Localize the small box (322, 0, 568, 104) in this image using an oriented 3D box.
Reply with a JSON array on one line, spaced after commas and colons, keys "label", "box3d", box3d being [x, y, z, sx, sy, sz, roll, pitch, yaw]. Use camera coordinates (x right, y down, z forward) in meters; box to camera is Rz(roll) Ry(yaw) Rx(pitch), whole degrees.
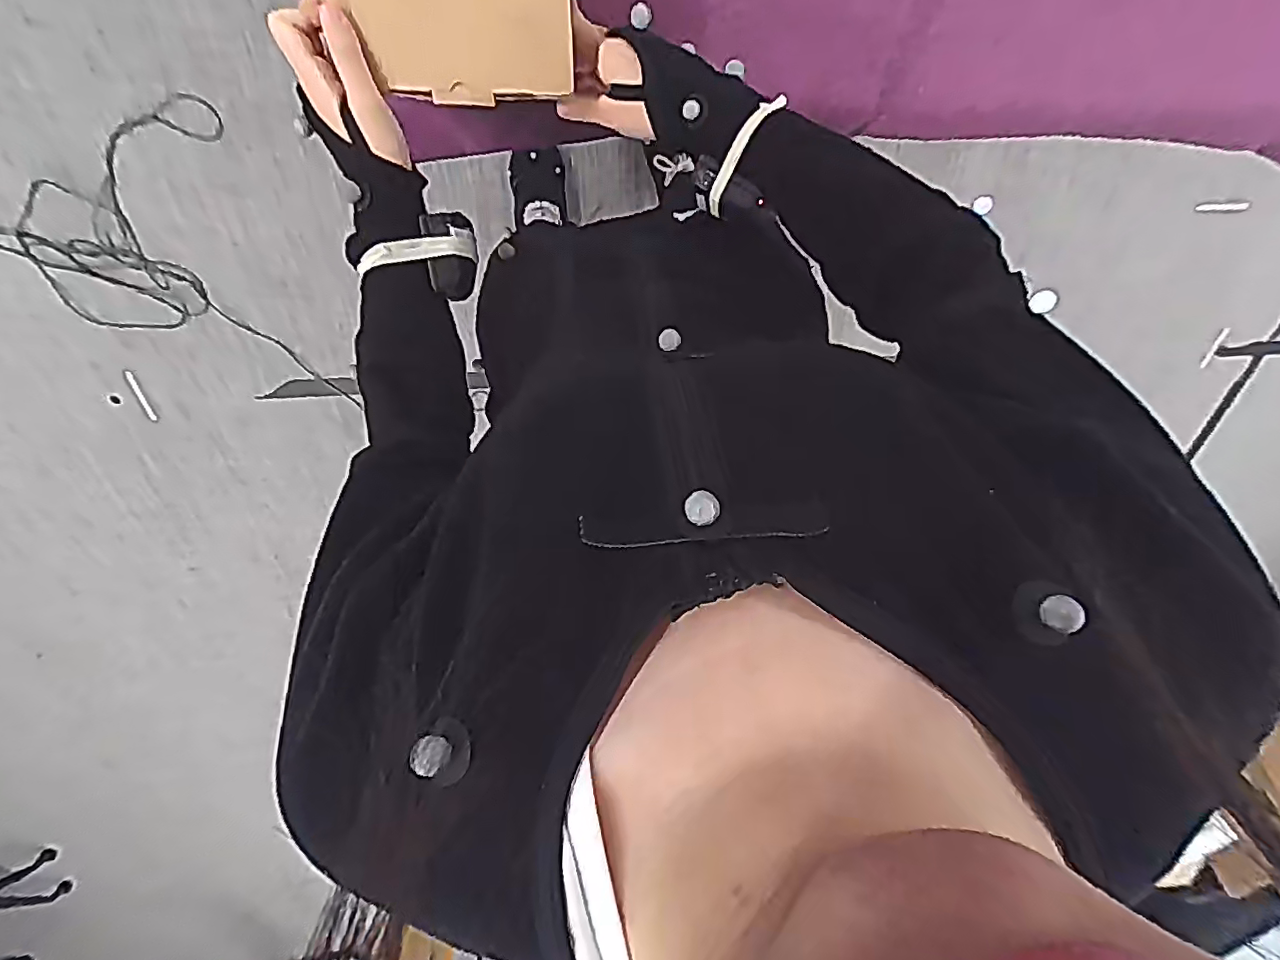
[{"label": "small box", "box3d": [-0.141, -0.400, 0.412, 0.168, 0.176, 0.179, -4, 127, -8]}]
